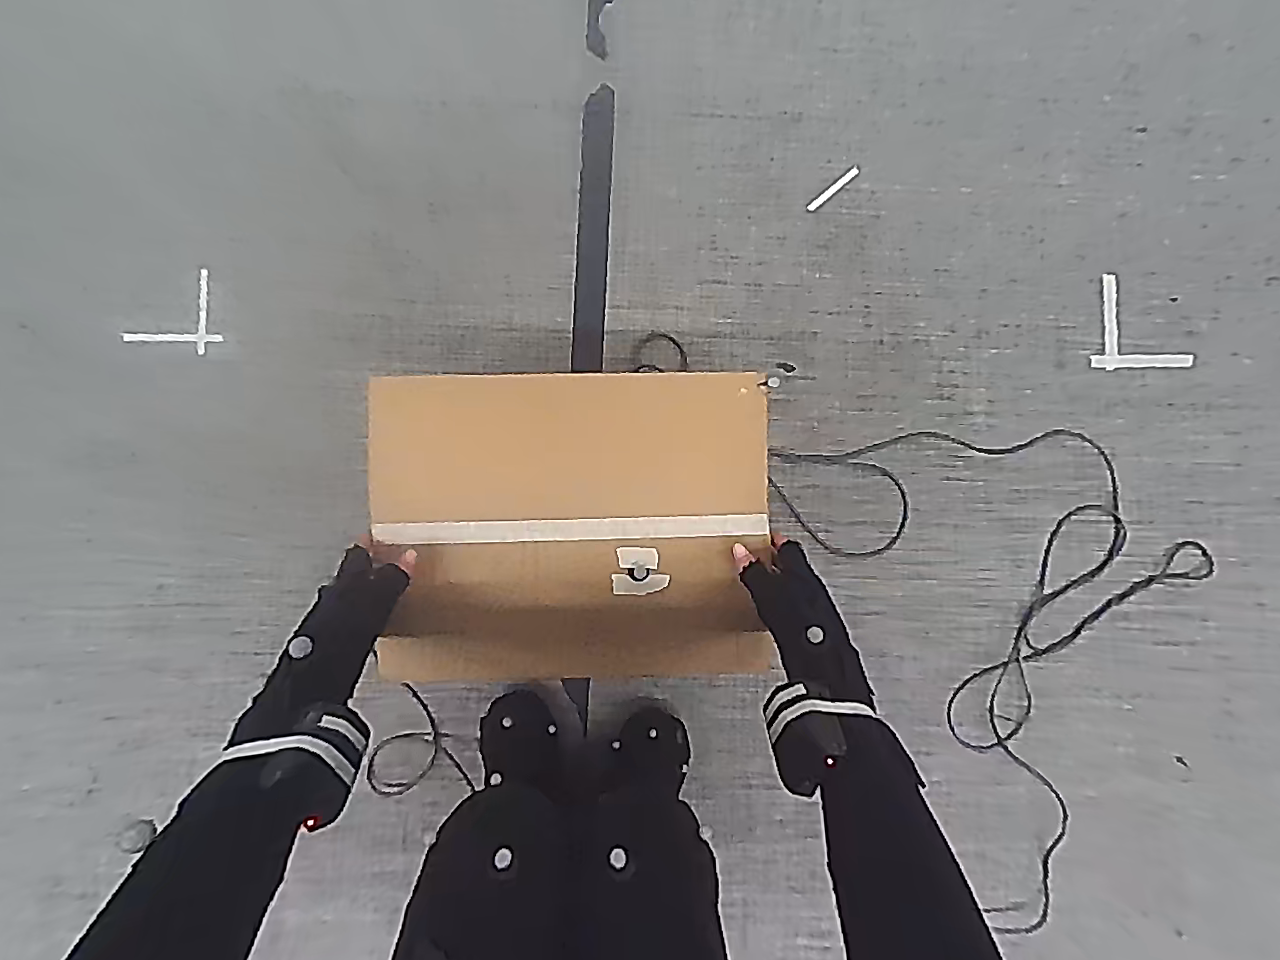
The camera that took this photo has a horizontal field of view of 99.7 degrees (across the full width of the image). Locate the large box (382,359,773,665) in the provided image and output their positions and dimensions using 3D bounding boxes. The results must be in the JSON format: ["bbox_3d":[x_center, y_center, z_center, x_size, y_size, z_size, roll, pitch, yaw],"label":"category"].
[{"bbox_3d":[-0.069,0.030,0.707,0.408,0.320,0.320,-1,92,-2],"label":"large box"}]
